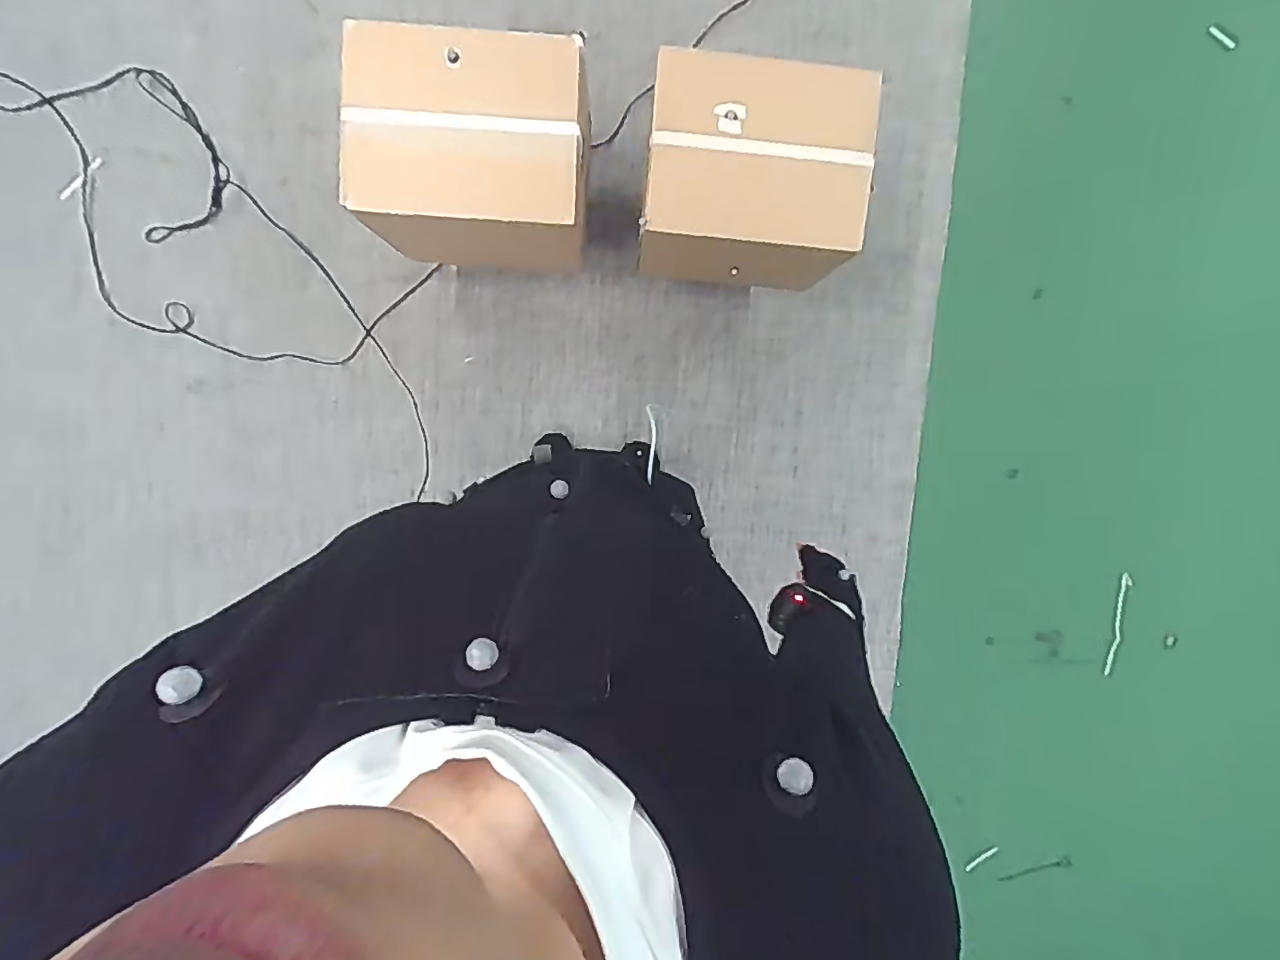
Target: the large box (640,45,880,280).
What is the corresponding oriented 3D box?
[{"bbox_3d":[0.217,-0.619,1.123,0.408,0.320,0.320,5,97,-3],"label":"large box"}]
